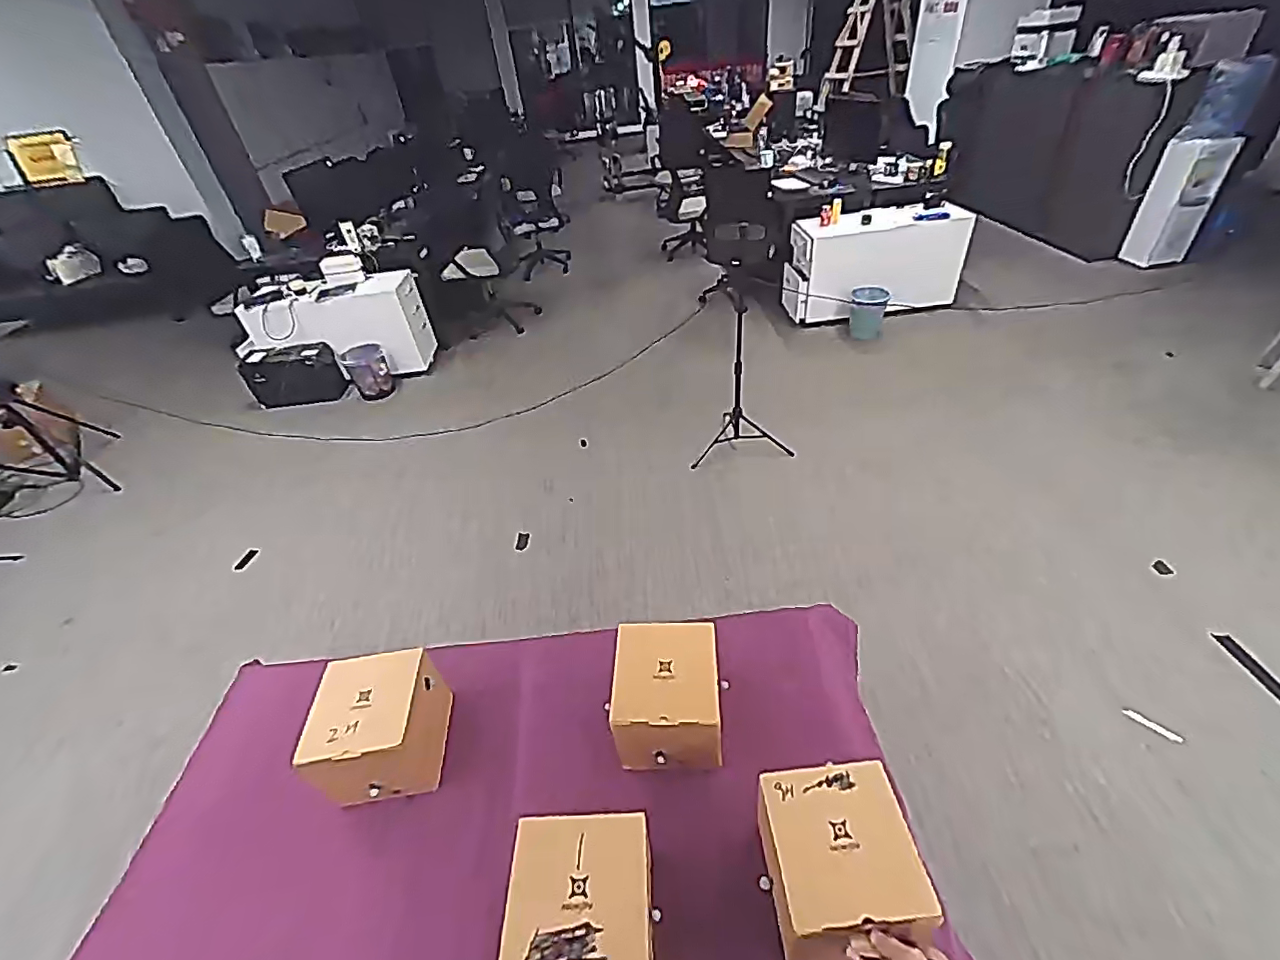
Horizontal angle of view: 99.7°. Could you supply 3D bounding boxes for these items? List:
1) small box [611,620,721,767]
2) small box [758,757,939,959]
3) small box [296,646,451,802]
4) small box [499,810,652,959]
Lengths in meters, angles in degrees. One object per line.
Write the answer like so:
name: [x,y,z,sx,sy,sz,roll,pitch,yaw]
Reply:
small box: [0.049,0.359,0.913,0.168,0.176,0.179,-3,41,6]
small box: [0.253,0.494,0.701,0.168,0.176,0.179,-7,36,2]
small box: [-0.436,0.415,0.923,0.168,0.176,0.179,-9,40,-1]
small box: [-0.070,0.543,0.686,0.168,0.176,0.179,-2,42,1]
